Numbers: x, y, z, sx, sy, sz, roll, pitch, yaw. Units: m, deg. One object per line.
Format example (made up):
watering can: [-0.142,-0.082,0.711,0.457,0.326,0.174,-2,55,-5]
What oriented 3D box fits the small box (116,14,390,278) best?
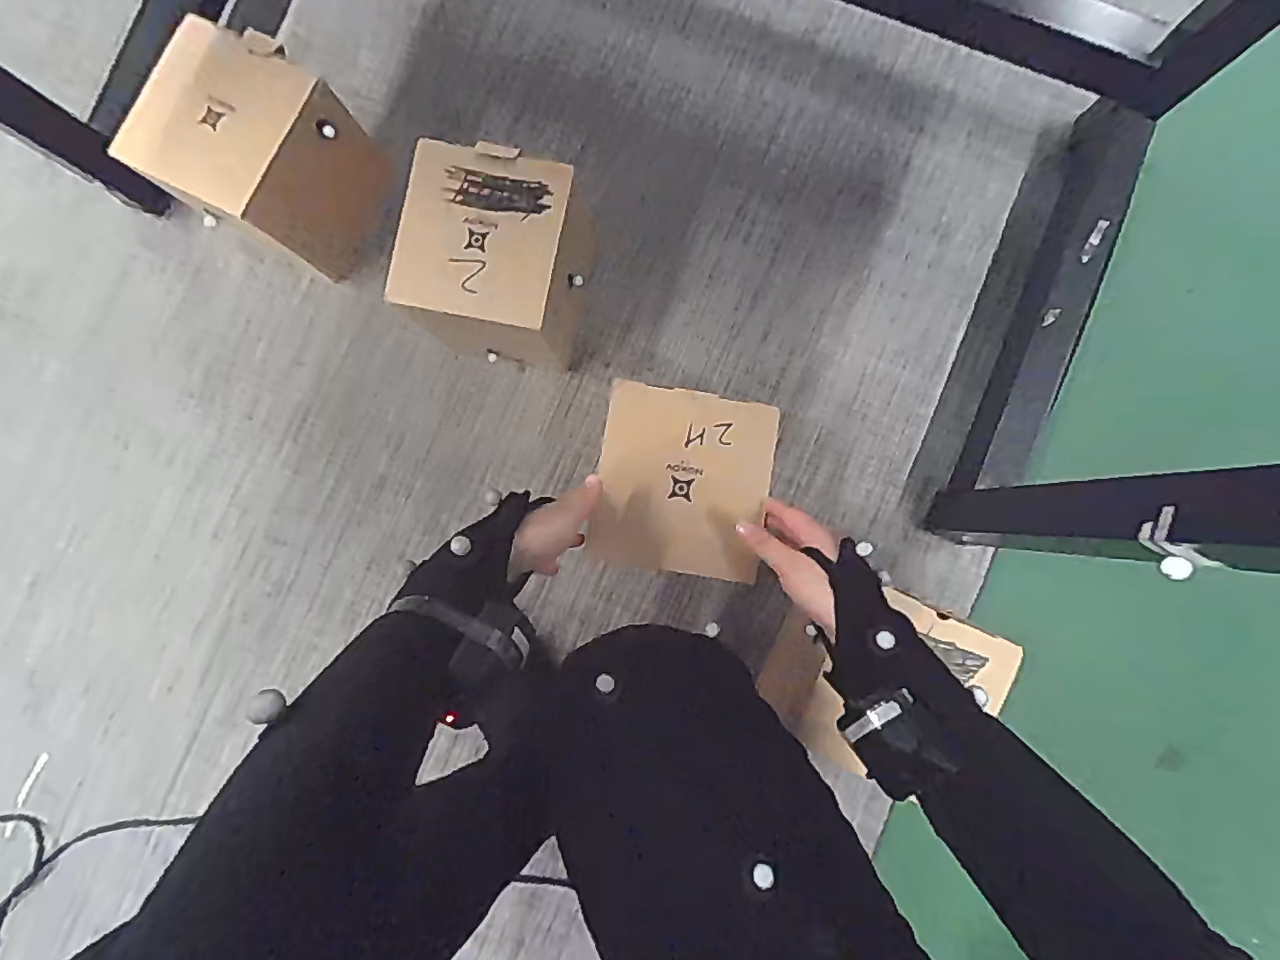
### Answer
small box: [-0.435,-0.375,0.641,0.168,0.176,0.179,27,87,4]
